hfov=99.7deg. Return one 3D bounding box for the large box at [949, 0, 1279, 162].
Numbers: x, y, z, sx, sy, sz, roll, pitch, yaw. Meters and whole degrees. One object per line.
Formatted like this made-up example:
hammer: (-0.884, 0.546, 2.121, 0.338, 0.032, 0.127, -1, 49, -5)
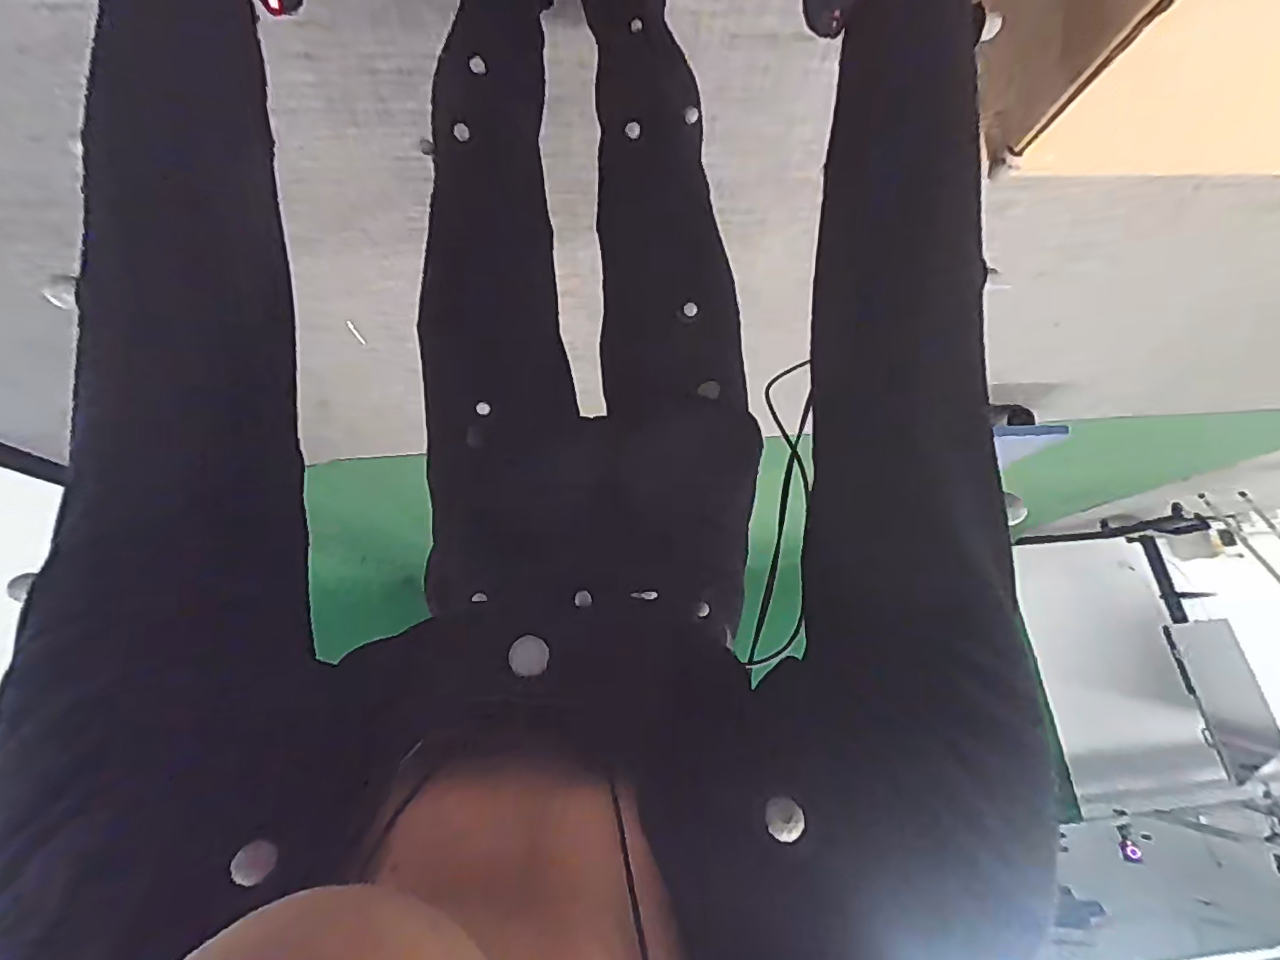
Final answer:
large box: (0.434, -0.408, 0.271, 0.408, 0.320, 0.320, -3, 166, -5)
